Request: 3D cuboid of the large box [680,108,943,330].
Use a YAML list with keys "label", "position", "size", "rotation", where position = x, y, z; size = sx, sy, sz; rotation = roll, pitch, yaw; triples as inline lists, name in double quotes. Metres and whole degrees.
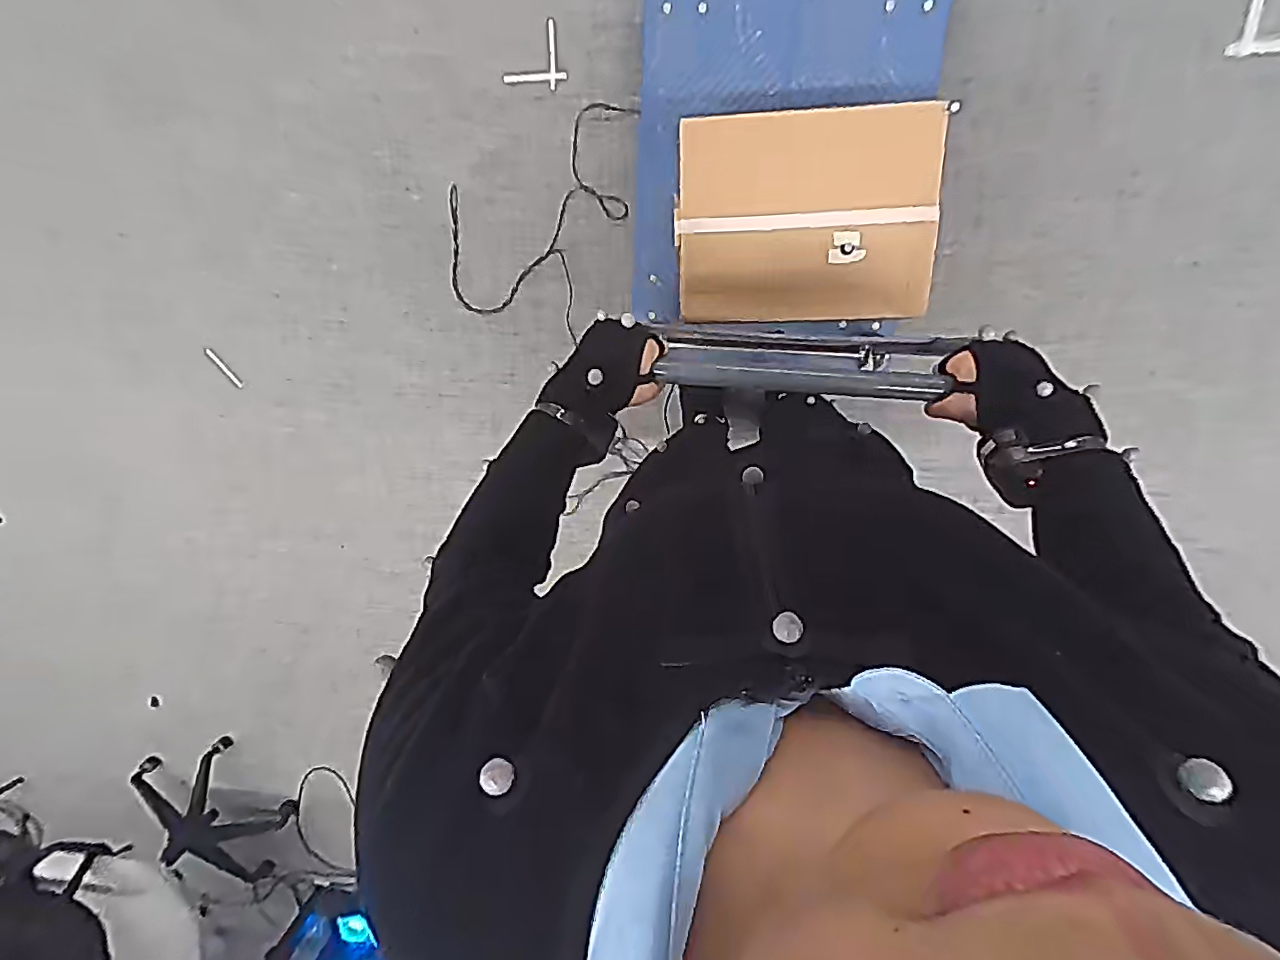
- label: "large box"
  position: [0.284, -0.455, 1.024]
  size: [0.408, 0.320, 0.320]
  rotation: [0, 106, 6]
